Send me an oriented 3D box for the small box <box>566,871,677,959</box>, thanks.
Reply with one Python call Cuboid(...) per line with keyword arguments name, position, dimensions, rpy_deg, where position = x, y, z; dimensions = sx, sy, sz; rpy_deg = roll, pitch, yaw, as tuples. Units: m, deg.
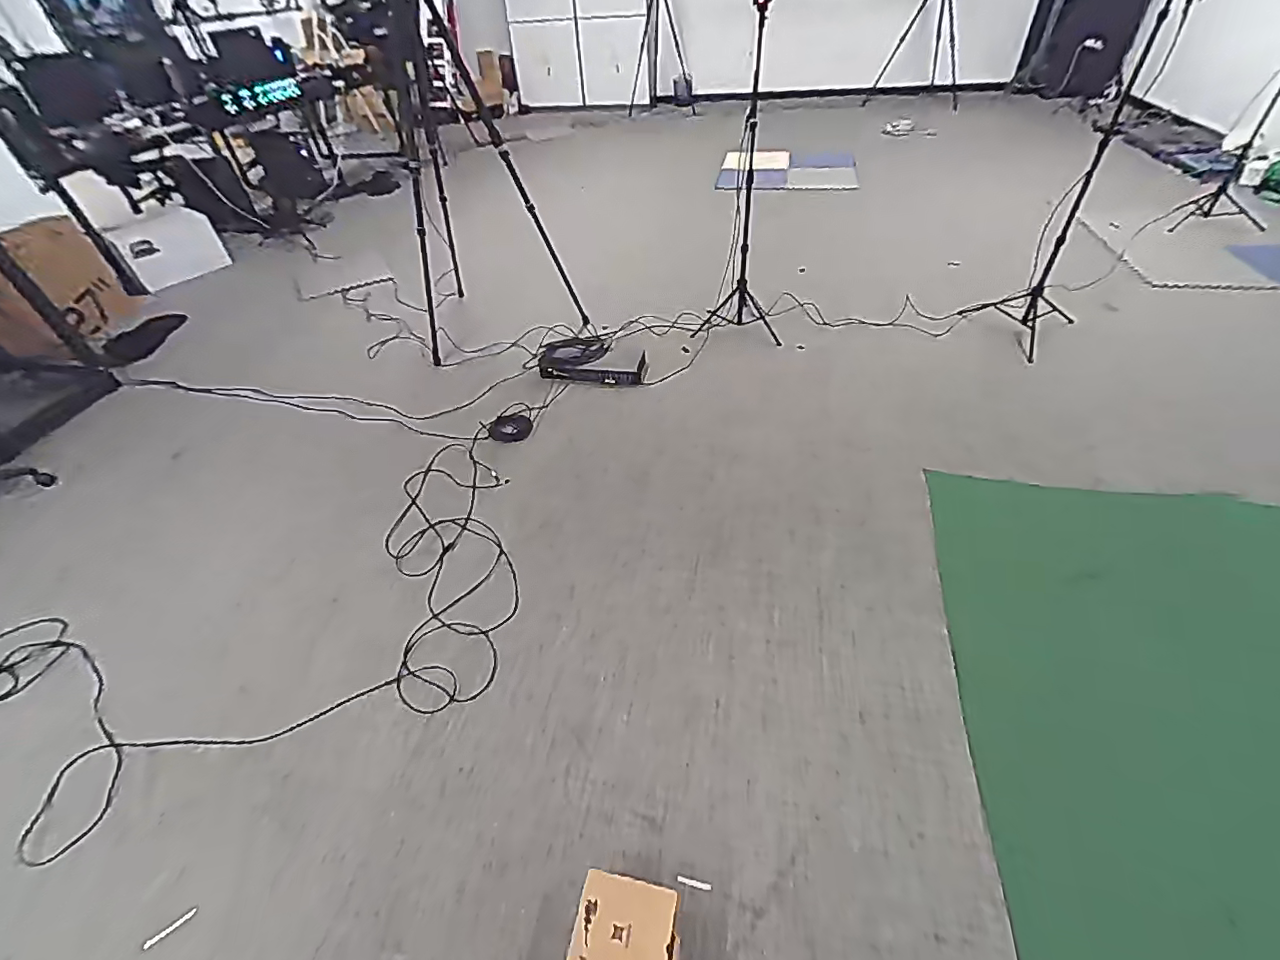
Cuboid(name="small box", position=(-0.028, 0.858, 1.004), dimensions=(0.179, 0.176, 0.168), rpy_deg=(6, 45, 11))
